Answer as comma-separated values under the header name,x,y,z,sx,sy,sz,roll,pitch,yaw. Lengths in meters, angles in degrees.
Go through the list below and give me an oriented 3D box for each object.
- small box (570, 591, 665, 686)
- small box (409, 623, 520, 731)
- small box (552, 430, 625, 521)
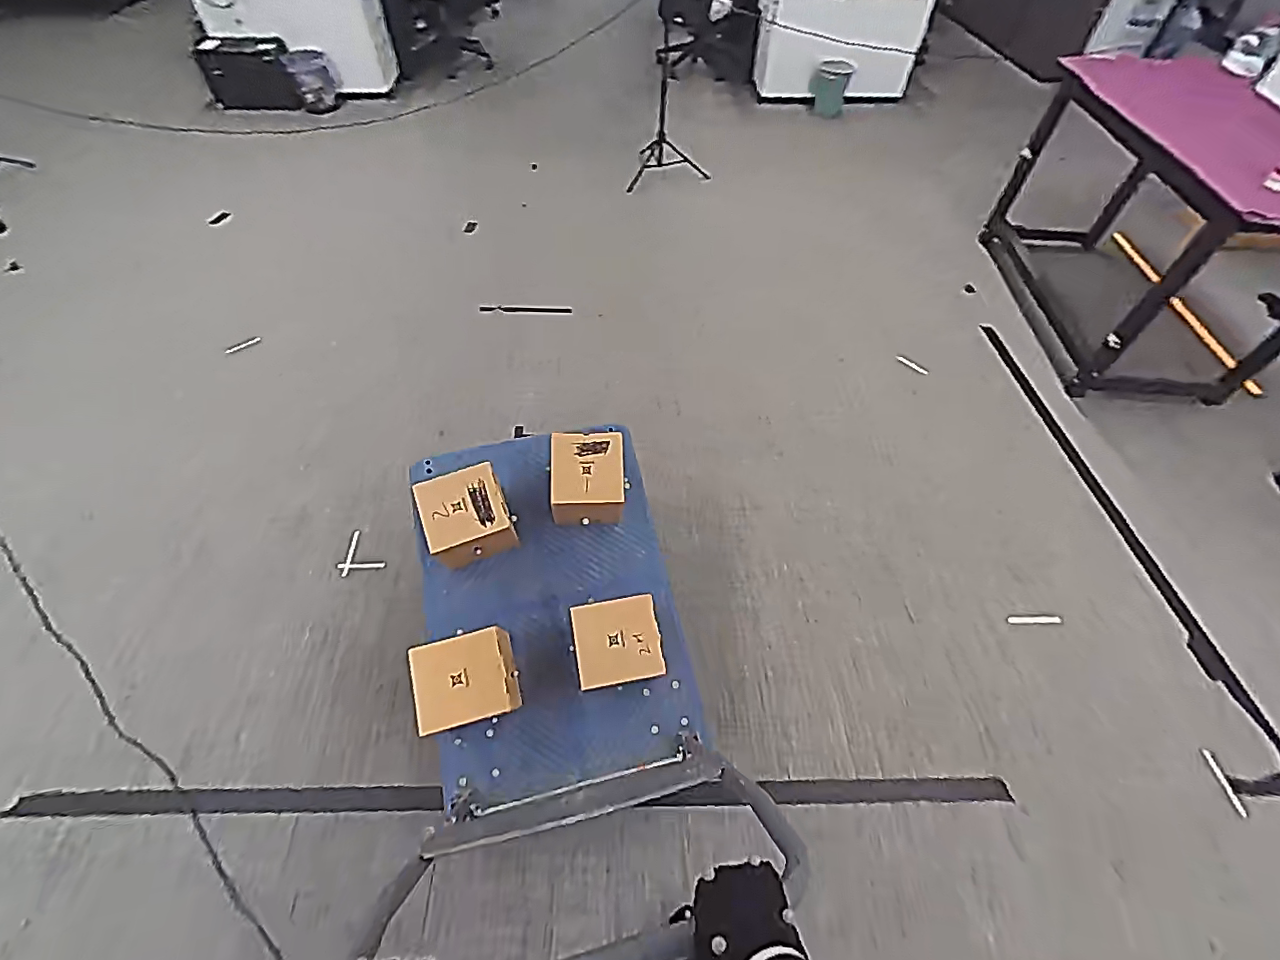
name,x,y,z,sx,sy,sz,roll,pitch,yaw
small box,-0.052,0.349,1.178,0.179,0.176,0.168,-8,71,-8
small box,-0.359,0.410,1.128,0.179,0.176,0.168,-13,71,-11
small box,-0.125,-0.007,1.306,0.168,0.176,0.179,-1,71,-6
